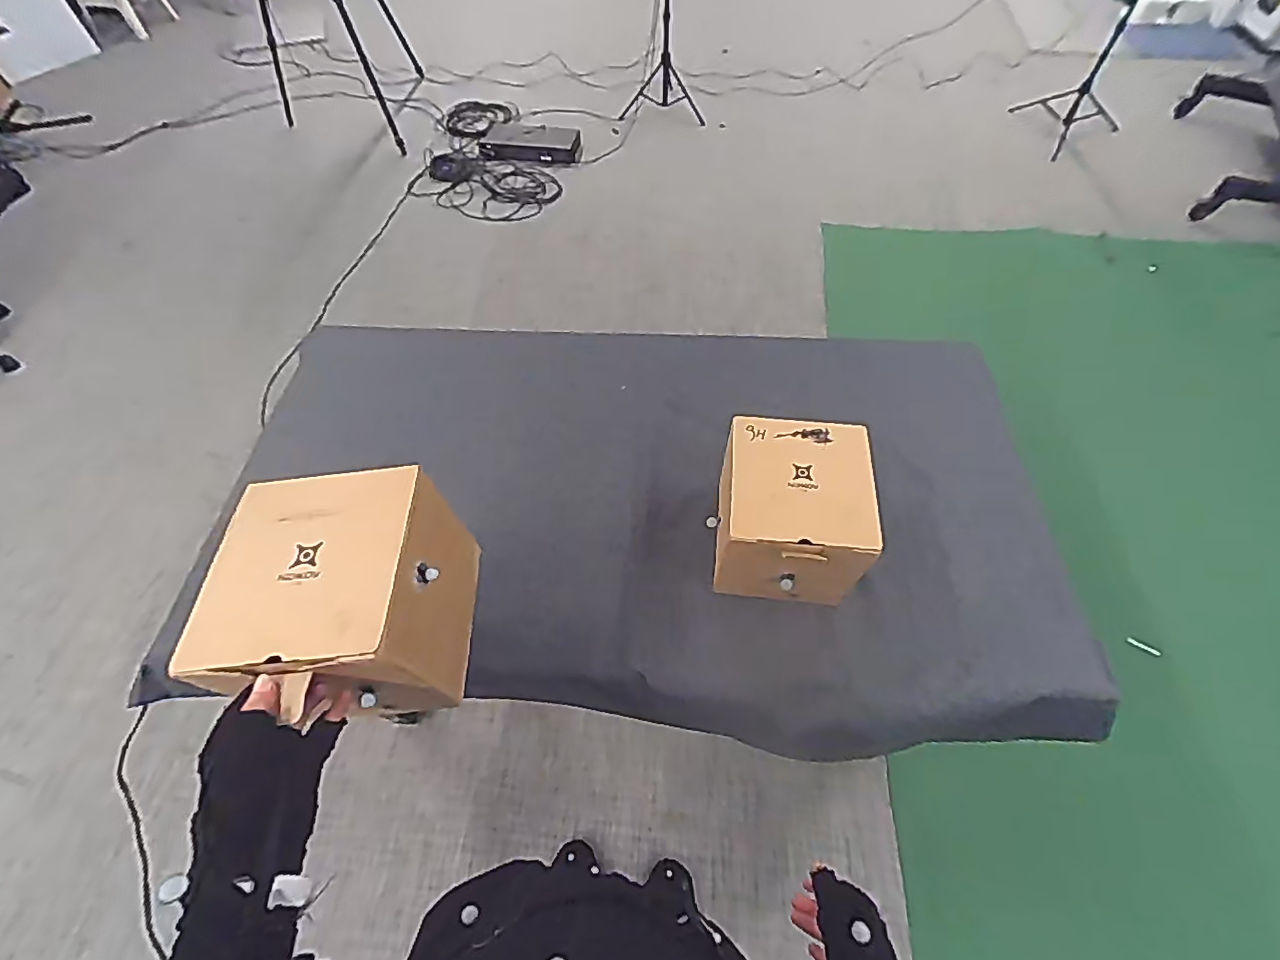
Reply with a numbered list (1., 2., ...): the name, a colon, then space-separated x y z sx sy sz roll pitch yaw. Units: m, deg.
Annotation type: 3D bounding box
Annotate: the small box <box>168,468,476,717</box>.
1. small box: -0.266 0.113 0.507 0.168 0.176 0.179 -6 54 2
